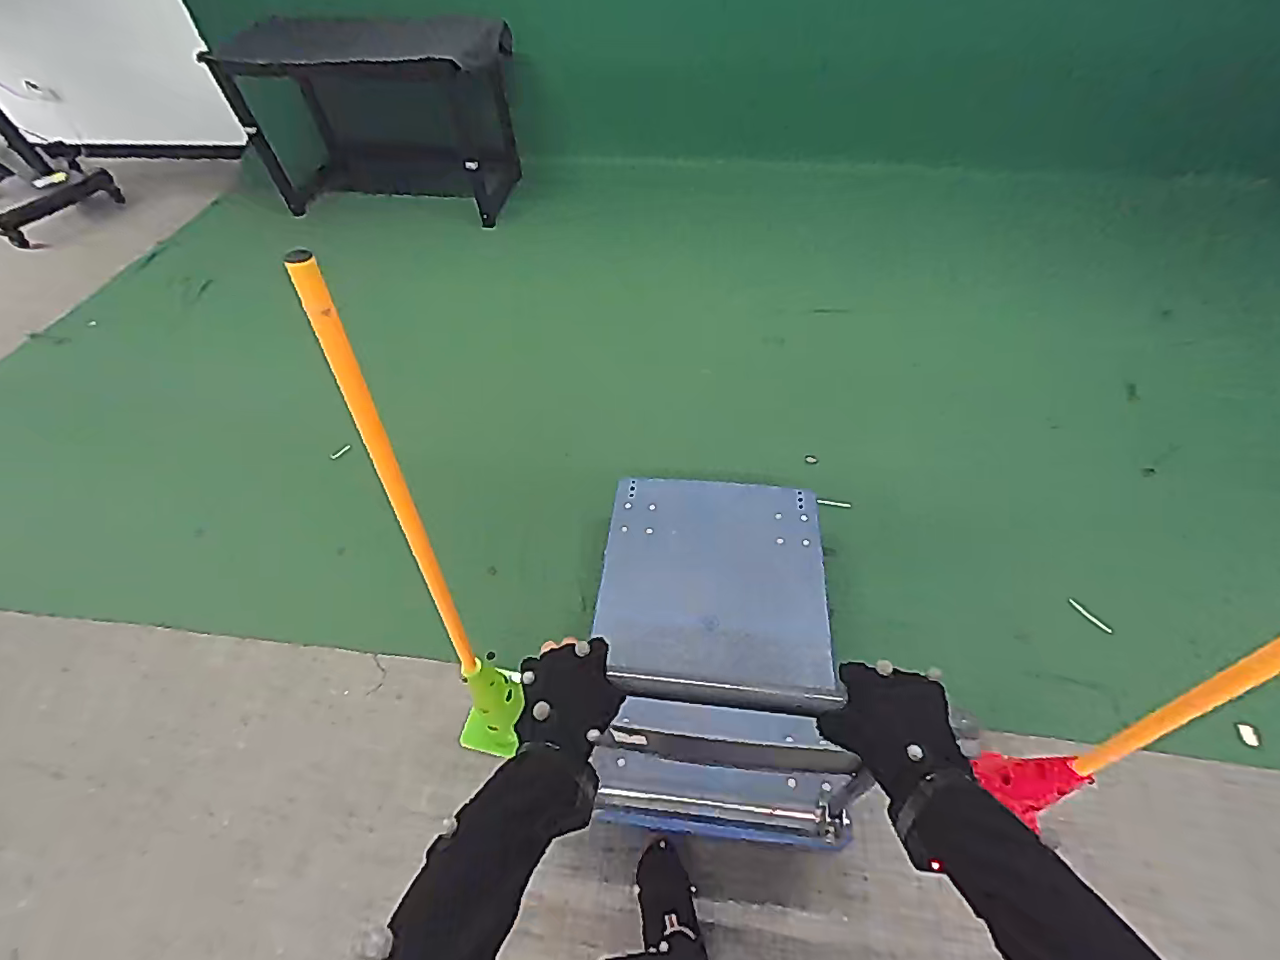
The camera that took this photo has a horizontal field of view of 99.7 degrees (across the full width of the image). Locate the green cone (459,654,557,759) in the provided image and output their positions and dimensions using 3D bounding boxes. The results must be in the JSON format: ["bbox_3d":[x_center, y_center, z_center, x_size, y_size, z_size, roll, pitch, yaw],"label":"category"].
[{"bbox_3d":[-0.339,0.485,1.253,0.202,0.368,0.200,9,53,10],"label":"green cone"}]
